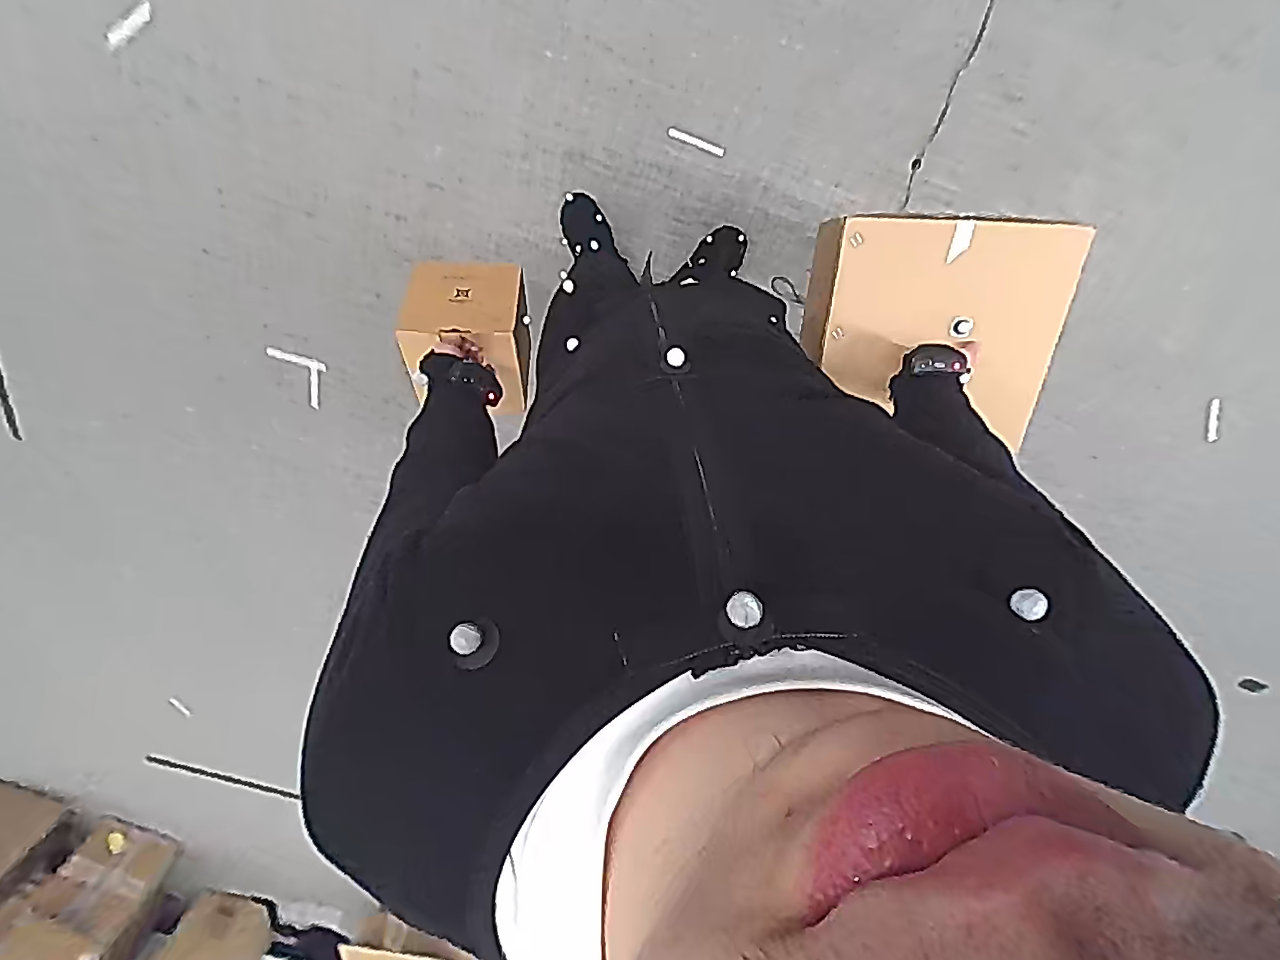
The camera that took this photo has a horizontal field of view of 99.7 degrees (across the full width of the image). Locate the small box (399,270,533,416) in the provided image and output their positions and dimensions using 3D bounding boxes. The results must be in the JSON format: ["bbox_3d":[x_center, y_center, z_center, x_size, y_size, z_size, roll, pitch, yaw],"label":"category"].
[{"bbox_3d":[-0.267,-0.217,0.875,0.168,0.179,0.176,-1,142,-5],"label":"small box"}]
